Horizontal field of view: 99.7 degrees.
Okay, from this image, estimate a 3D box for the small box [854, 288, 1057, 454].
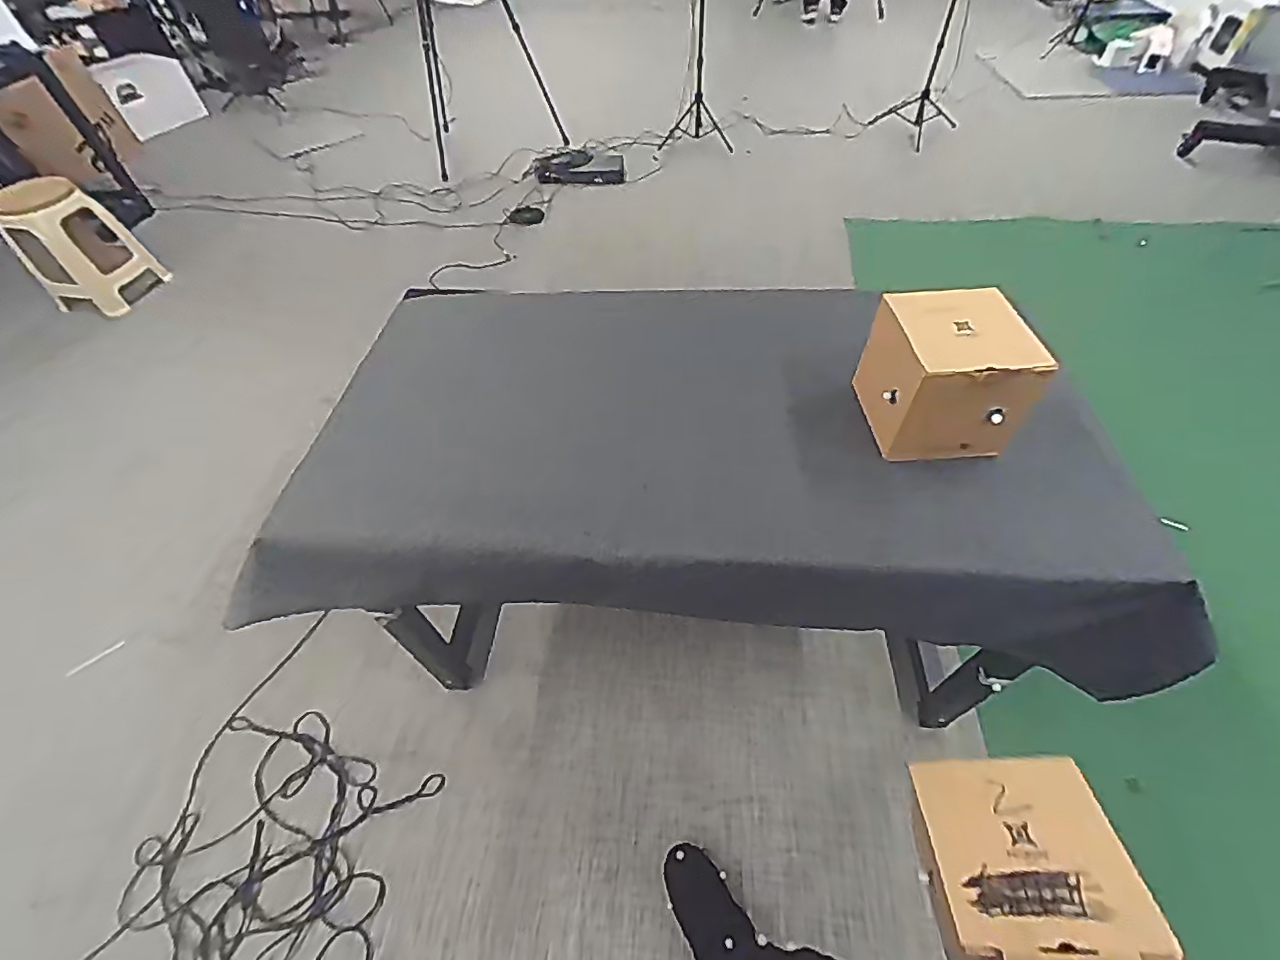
[{"bbox_3d":[0.427,-0.149,0.770,0.168,0.176,0.179,-3,50,0],"label":"small box"}]
